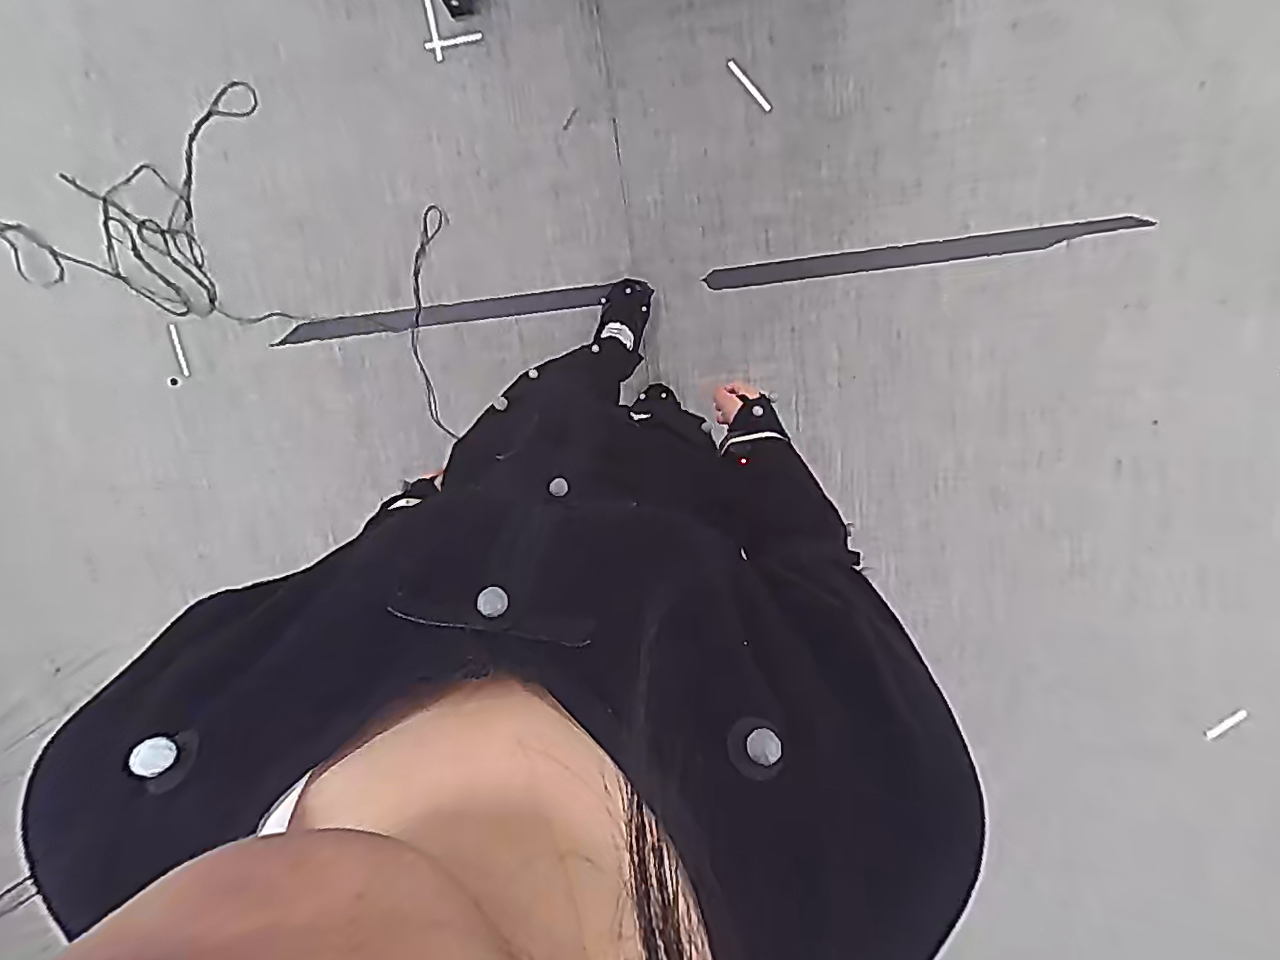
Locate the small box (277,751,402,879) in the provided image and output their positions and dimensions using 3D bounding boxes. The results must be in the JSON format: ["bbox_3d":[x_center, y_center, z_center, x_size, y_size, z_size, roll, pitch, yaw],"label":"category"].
[{"bbox_3d":[-0.730,0.818,1.337,0.179,0.176,0.168,42,101,-5],"label":"small box"}]
